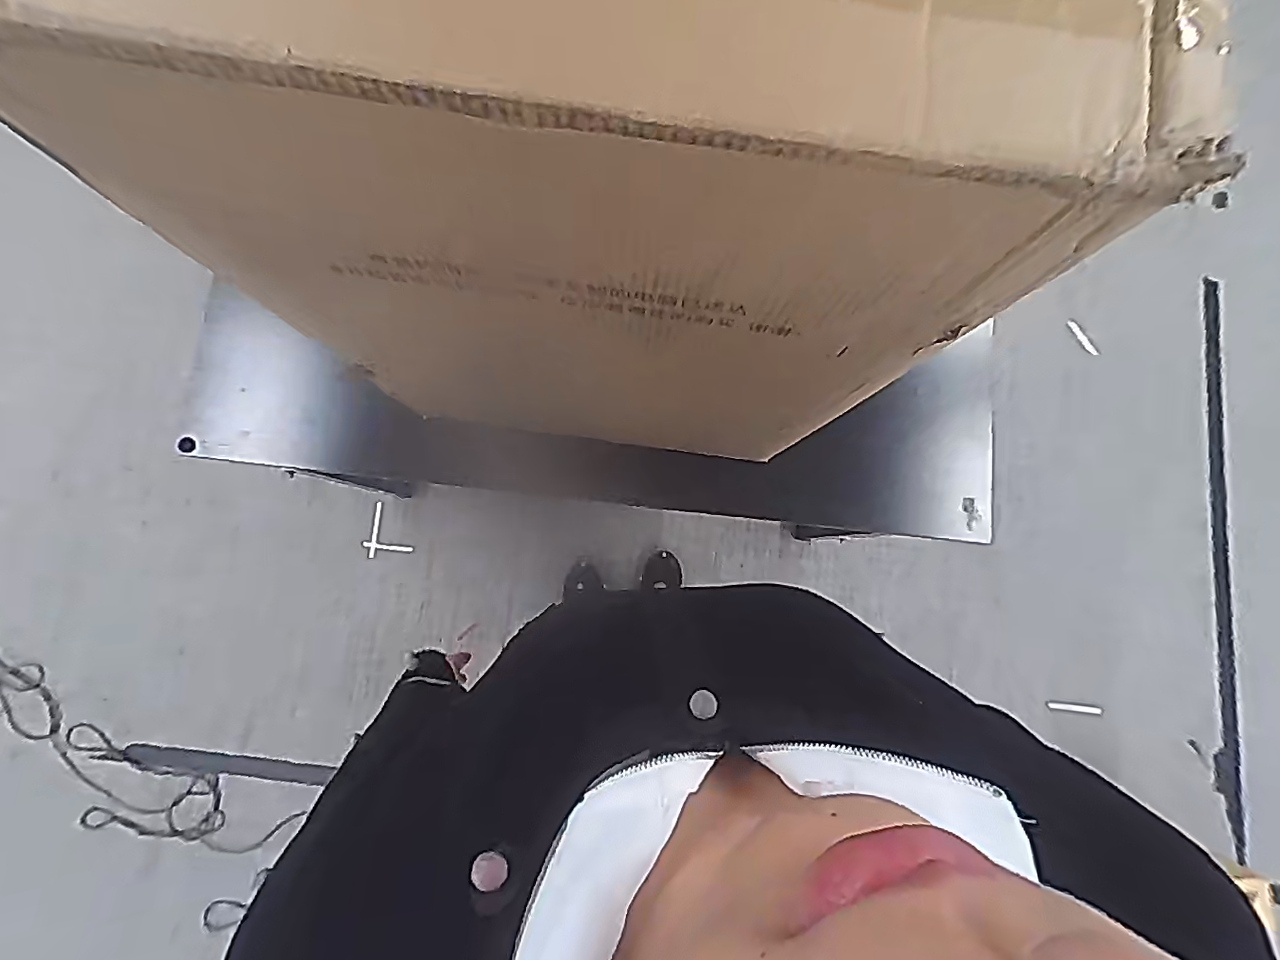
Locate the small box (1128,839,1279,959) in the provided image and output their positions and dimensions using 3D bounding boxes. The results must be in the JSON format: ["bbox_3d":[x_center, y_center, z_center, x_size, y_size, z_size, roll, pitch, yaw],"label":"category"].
[{"bbox_3d":[1.247,0.938,1.211,0.168,0.176,0.179,2,83,-2],"label":"small box"}]
